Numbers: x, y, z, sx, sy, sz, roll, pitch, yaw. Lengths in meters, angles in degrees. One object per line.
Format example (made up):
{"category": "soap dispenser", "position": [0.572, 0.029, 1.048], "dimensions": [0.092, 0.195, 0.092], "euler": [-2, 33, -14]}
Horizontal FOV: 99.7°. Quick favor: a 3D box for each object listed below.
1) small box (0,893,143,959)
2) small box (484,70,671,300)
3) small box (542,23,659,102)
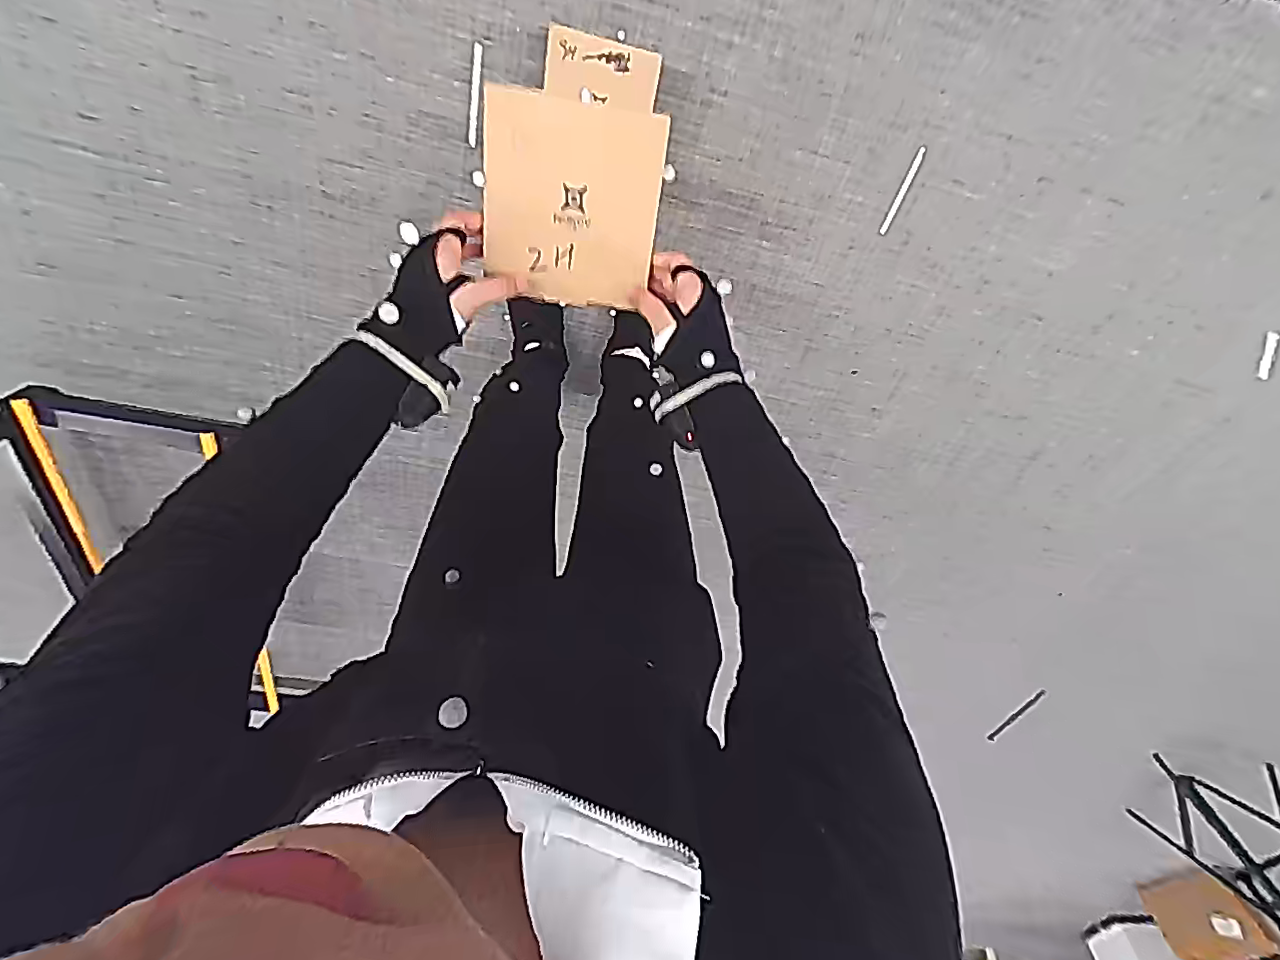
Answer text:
{"category": "small box", "position": [-1.201, 0.977, 1.116], "dimensions": [0.179, 0.176, 0.168], "euler": [7, 127, -7]}
{"category": "small box", "position": [-0.073, -0.313, 0.587], "dimensions": [0.168, 0.176, 0.179], "euler": [5, 121, -10]}
{"category": "small box", "position": [-0.069, -0.603, 0.876], "dimensions": [0.168, 0.176, 0.179], "euler": [10, 126, -9]}
